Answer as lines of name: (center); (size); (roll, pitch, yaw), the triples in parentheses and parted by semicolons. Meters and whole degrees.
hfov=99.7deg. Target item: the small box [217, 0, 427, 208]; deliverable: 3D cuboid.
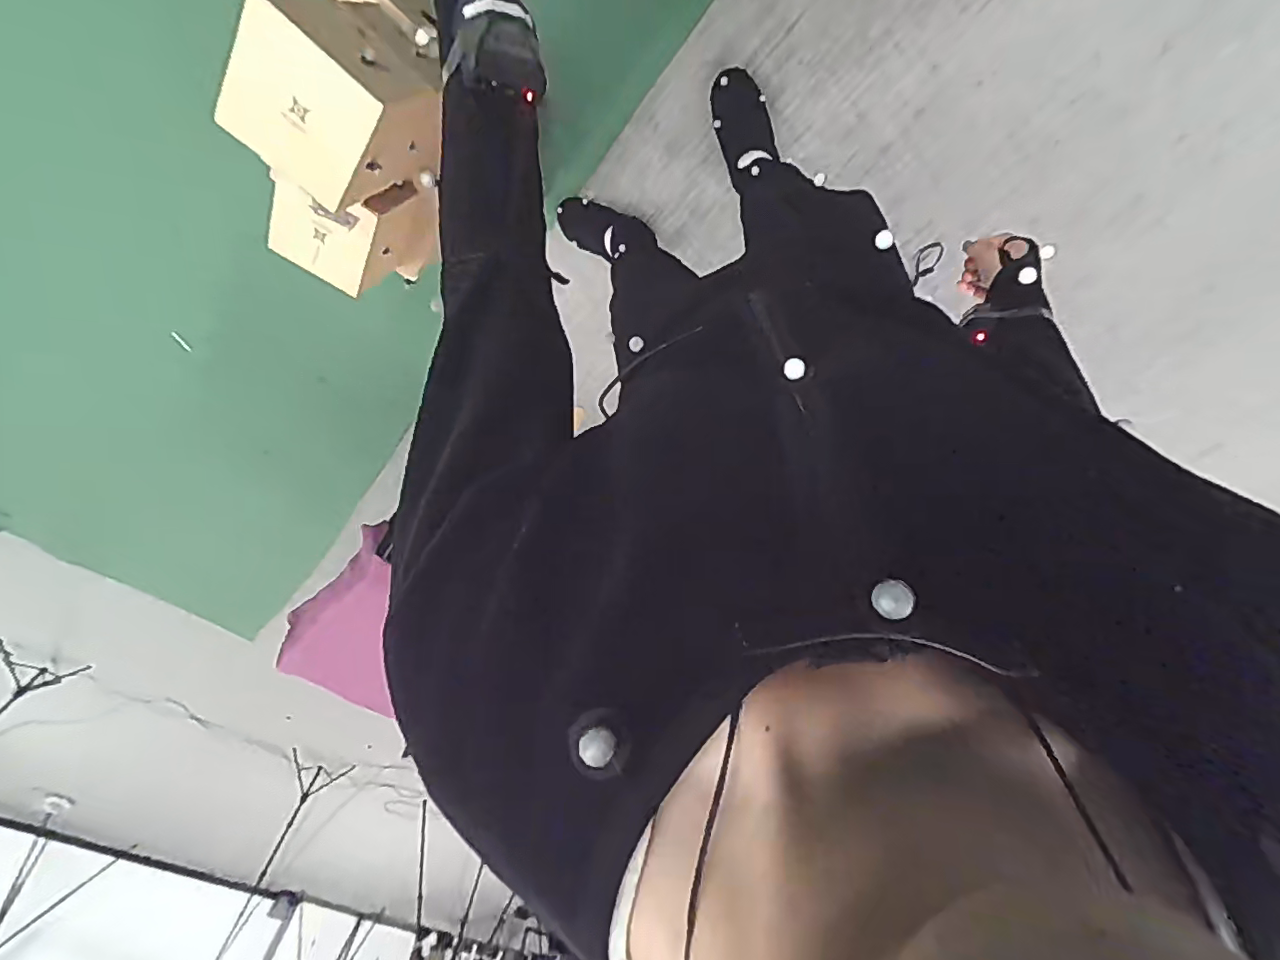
small box: (-0.418, -0.520, 0.736); (0.168, 0.176, 0.179); (37, 127, -23)
